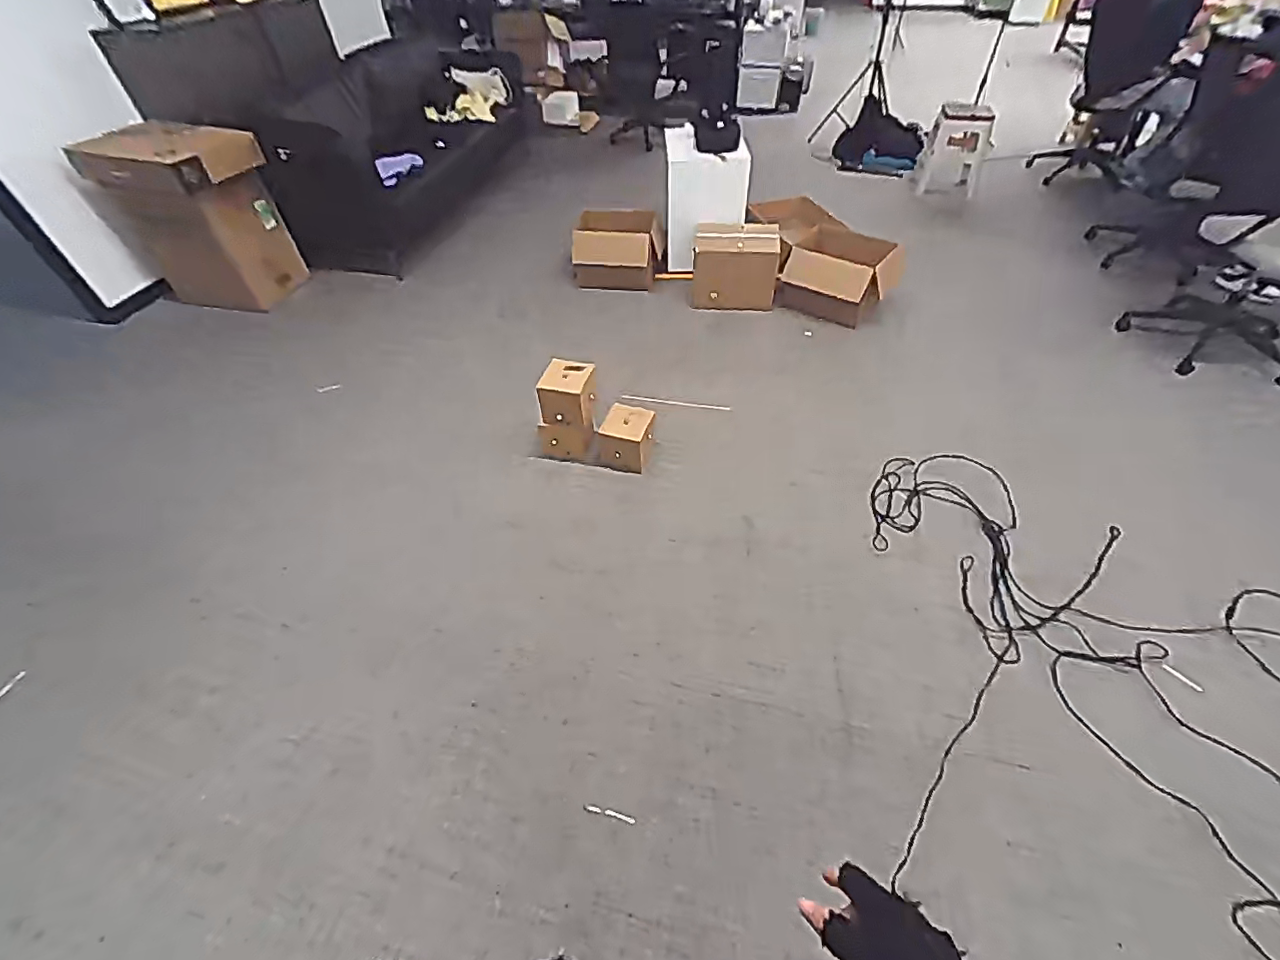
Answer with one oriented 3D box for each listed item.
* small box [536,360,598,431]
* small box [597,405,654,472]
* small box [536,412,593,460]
[{"bbox_3d":[-0.258,-0.307,1.963,0.168,0.176,0.179,10,49,12],"label":"small box"},{"bbox_3d":[-0.047,-0.153,2.032,0.168,0.176,0.179,14,49,15],"label":"small box"},{"bbox_3d":[-0.284,-0.195,2.086,0.168,0.176,0.179,5,47,8],"label":"small box"}]
